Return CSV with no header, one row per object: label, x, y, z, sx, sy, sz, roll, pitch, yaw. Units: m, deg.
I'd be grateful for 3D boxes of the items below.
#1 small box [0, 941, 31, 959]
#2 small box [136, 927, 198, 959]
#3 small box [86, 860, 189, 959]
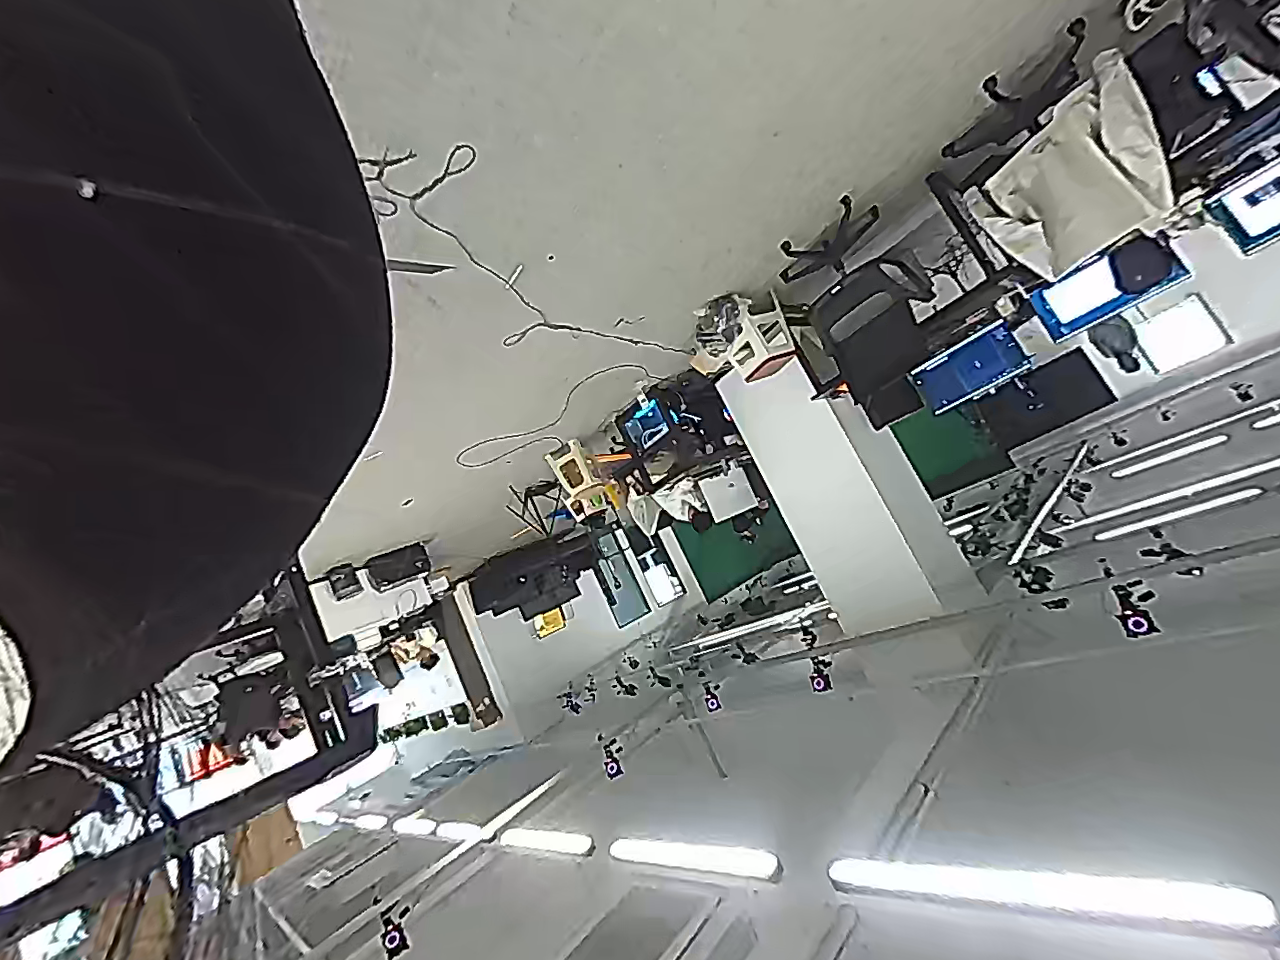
small box,-1.505,1.198,1.227,0.168,0.176,0.179,-18,168,-47
small box,-1.254,1.289,1.398,0.168,0.176,0.179,-17,168,-46
small box,-1.320,1.143,1.422,0.168,0.176,0.179,-16,169,-45
